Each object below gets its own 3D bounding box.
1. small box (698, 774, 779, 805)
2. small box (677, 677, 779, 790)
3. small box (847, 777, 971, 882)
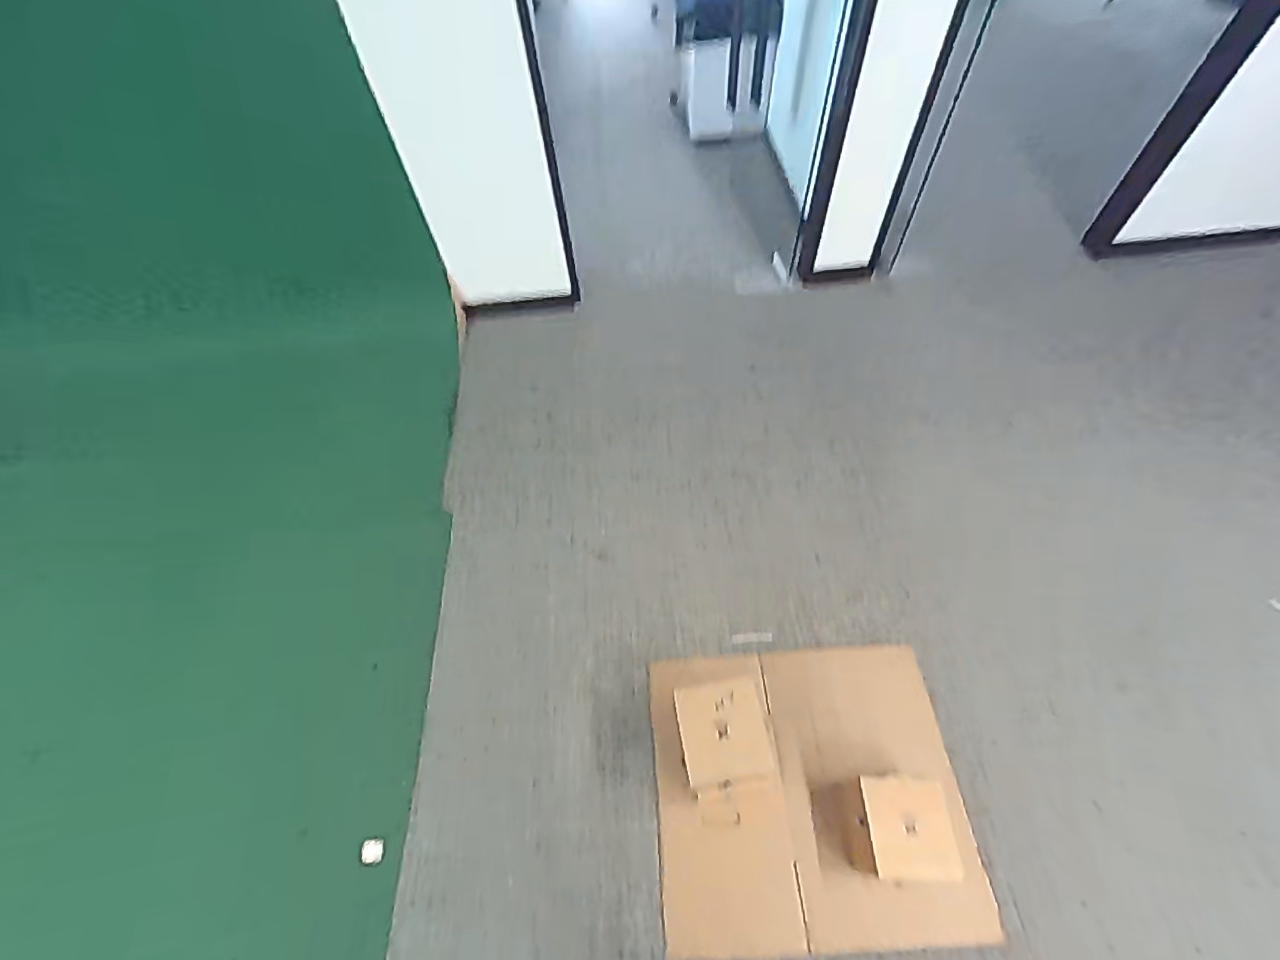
[{"bbox_3d":[0.202,0.623,1.233,0.168,0.176,0.179,-10,56,-2],"label":"small box"},{"bbox_3d":[0.171,0.522,1.103,0.168,0.176,0.179,-9,56,-3],"label":"small box"},{"bbox_3d":[0.551,0.729,1.134,0.168,0.176,0.179,-2,56,4],"label":"small box"}]
